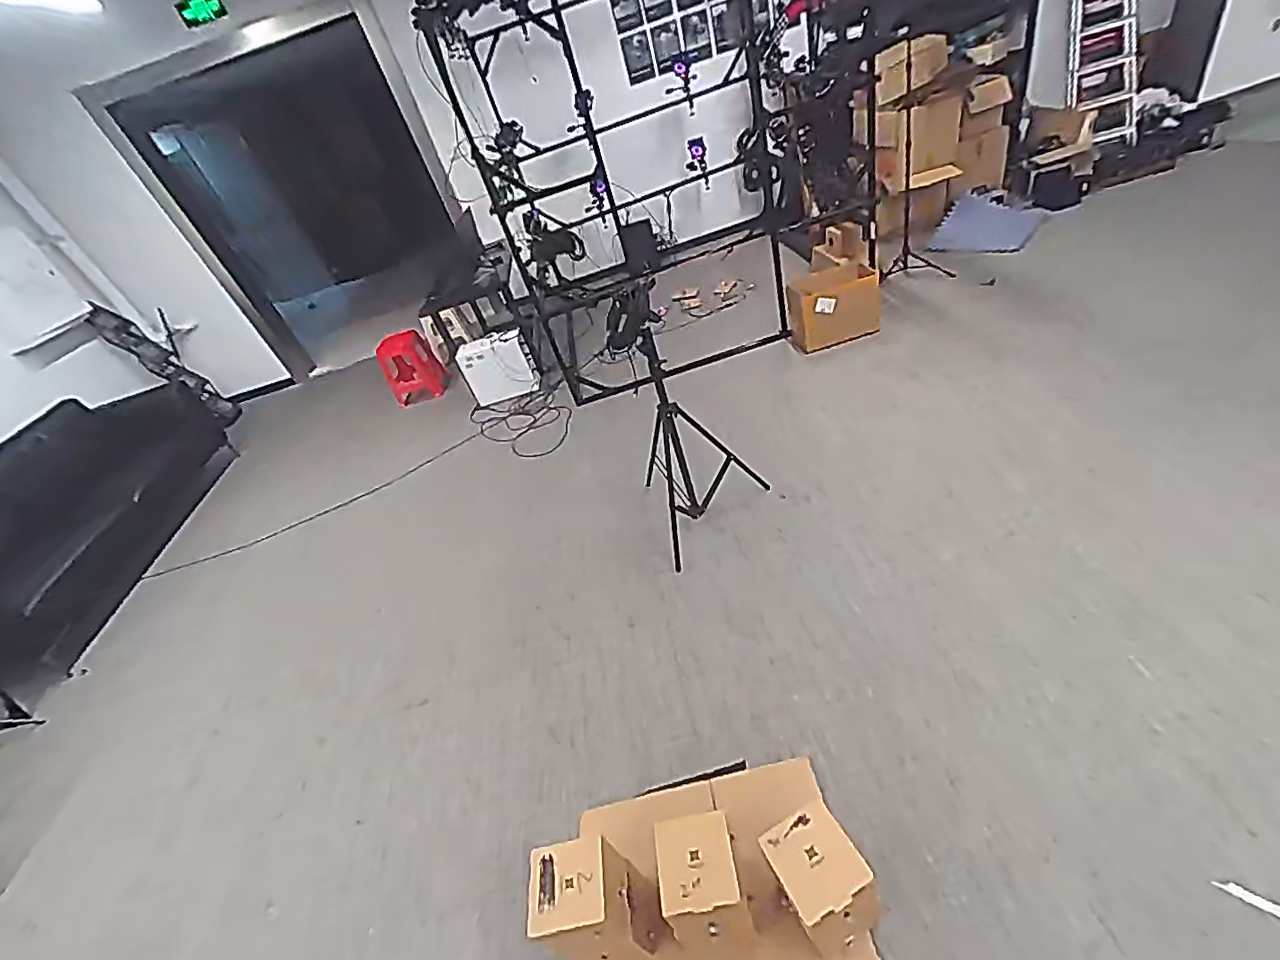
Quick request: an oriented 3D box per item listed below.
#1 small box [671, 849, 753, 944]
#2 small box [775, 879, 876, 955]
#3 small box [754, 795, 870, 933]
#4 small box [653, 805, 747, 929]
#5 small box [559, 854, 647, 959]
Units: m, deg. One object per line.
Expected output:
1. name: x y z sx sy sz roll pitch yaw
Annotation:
1. small box: 0.168 0.995 1.312 0.179 0.176 0.168 -15 38 6
2. small box: 0.423 0.948 1.258 0.168 0.176 0.179 -30 38 -11
3. small box: 0.372 0.828 1.159 0.168 0.176 0.179 -28 39 -9
4. small box: 0.134 0.868 1.212 0.168 0.176 0.179 -15 38 6
5. small box: -0.088 1.062 1.338 0.179 0.176 0.168 -18 37 5
